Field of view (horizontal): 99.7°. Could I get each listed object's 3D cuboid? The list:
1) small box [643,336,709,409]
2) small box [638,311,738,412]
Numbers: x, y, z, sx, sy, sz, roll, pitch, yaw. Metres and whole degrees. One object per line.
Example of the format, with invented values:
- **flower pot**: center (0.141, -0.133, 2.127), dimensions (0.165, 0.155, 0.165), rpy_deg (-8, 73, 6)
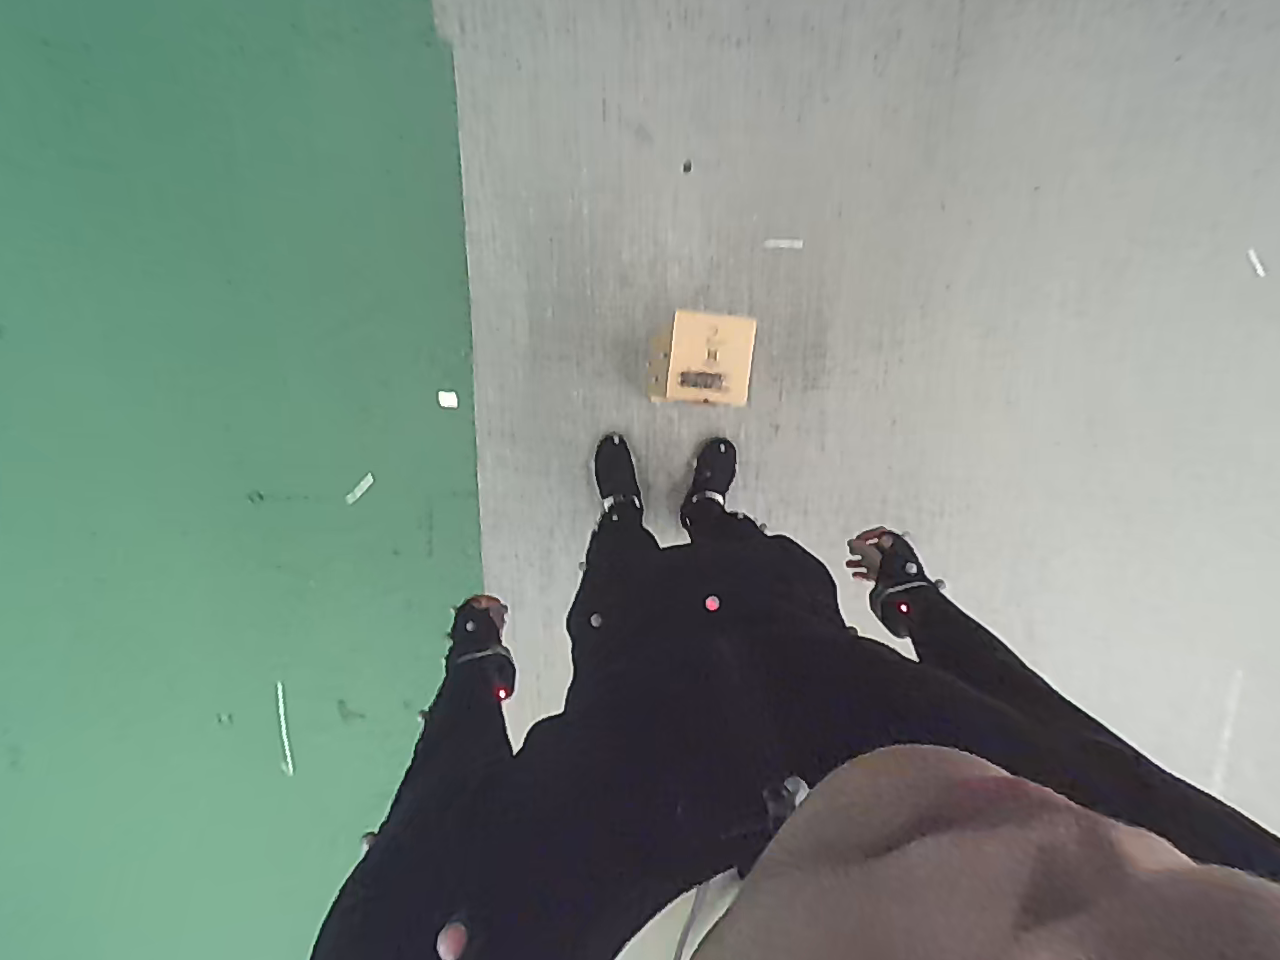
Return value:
- **small box**: center (0.099, -0.289, 1.470), dimensions (0.168, 0.176, 0.179), rpy_deg (4, 99, -5)
- **small box**: center (0.107, -0.283, 1.315), dimensions (0.179, 0.176, 0.168), rpy_deg (36, 98, -8)
